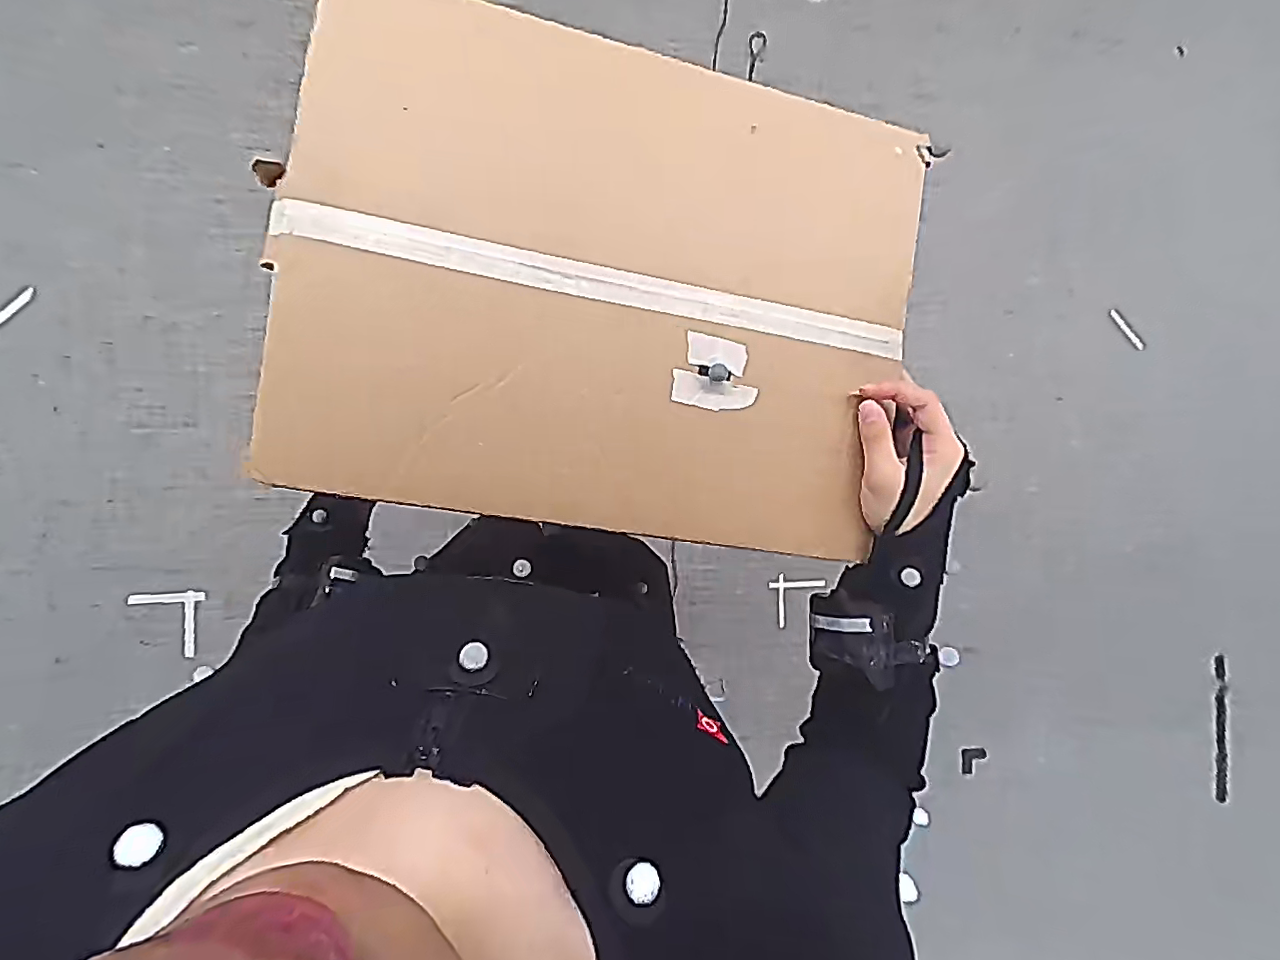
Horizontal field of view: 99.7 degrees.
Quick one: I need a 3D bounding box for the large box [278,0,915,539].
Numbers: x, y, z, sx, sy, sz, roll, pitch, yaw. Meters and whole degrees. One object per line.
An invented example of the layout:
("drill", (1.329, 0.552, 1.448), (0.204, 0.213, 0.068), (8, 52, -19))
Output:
("large box", (-0.036, -0.134, 0.506), (0.408, 0.320, 0.320), (8, 90, -12))
